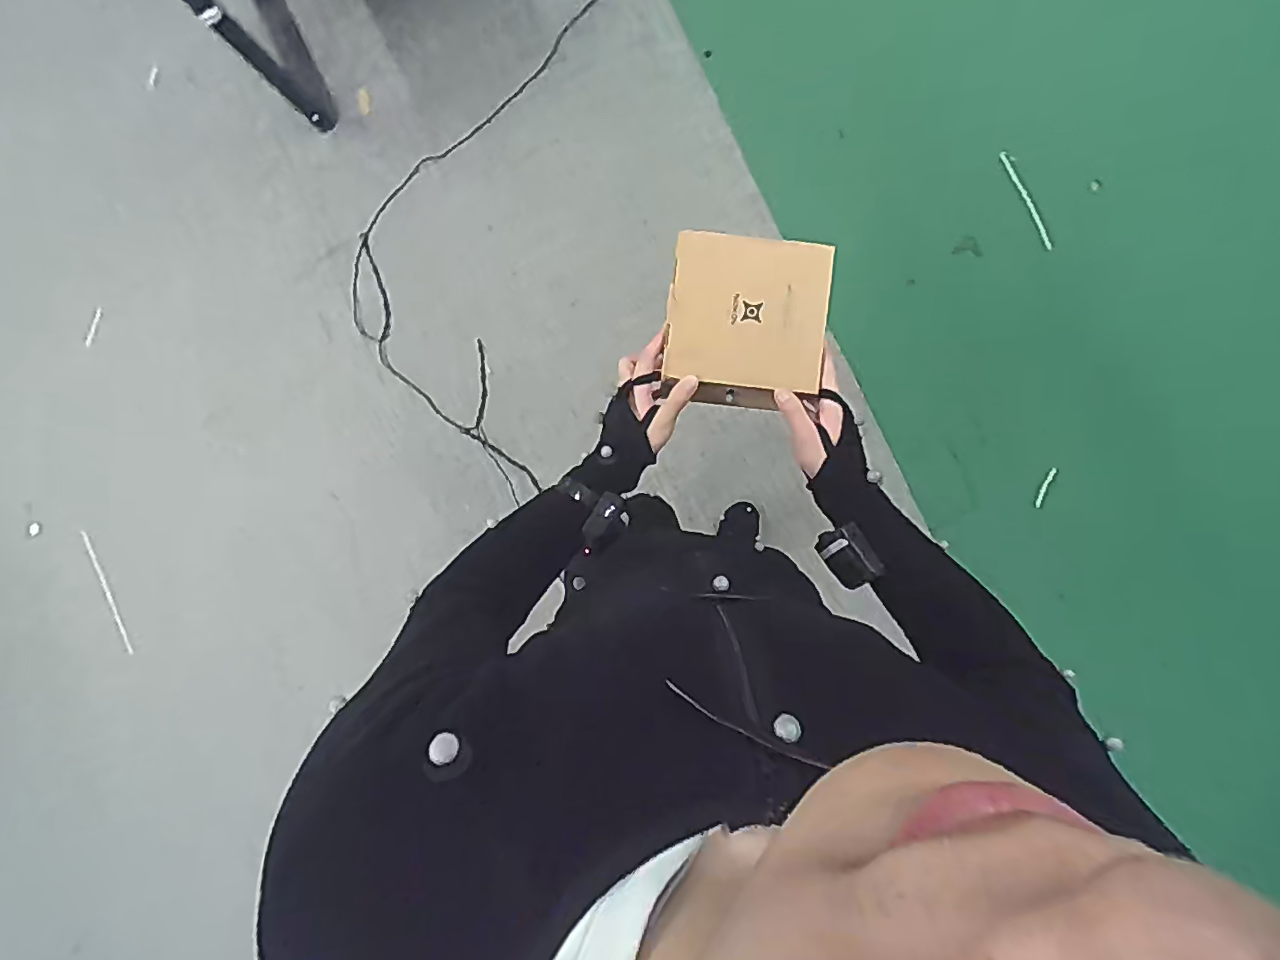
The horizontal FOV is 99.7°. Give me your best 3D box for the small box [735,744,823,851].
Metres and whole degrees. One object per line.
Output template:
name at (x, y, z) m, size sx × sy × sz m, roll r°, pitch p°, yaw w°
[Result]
small box at (0.374, 0.864, 1.490) m, size 0.179 × 0.176 × 0.168 m, roll -26°, pitch 85°, yaw 5°
